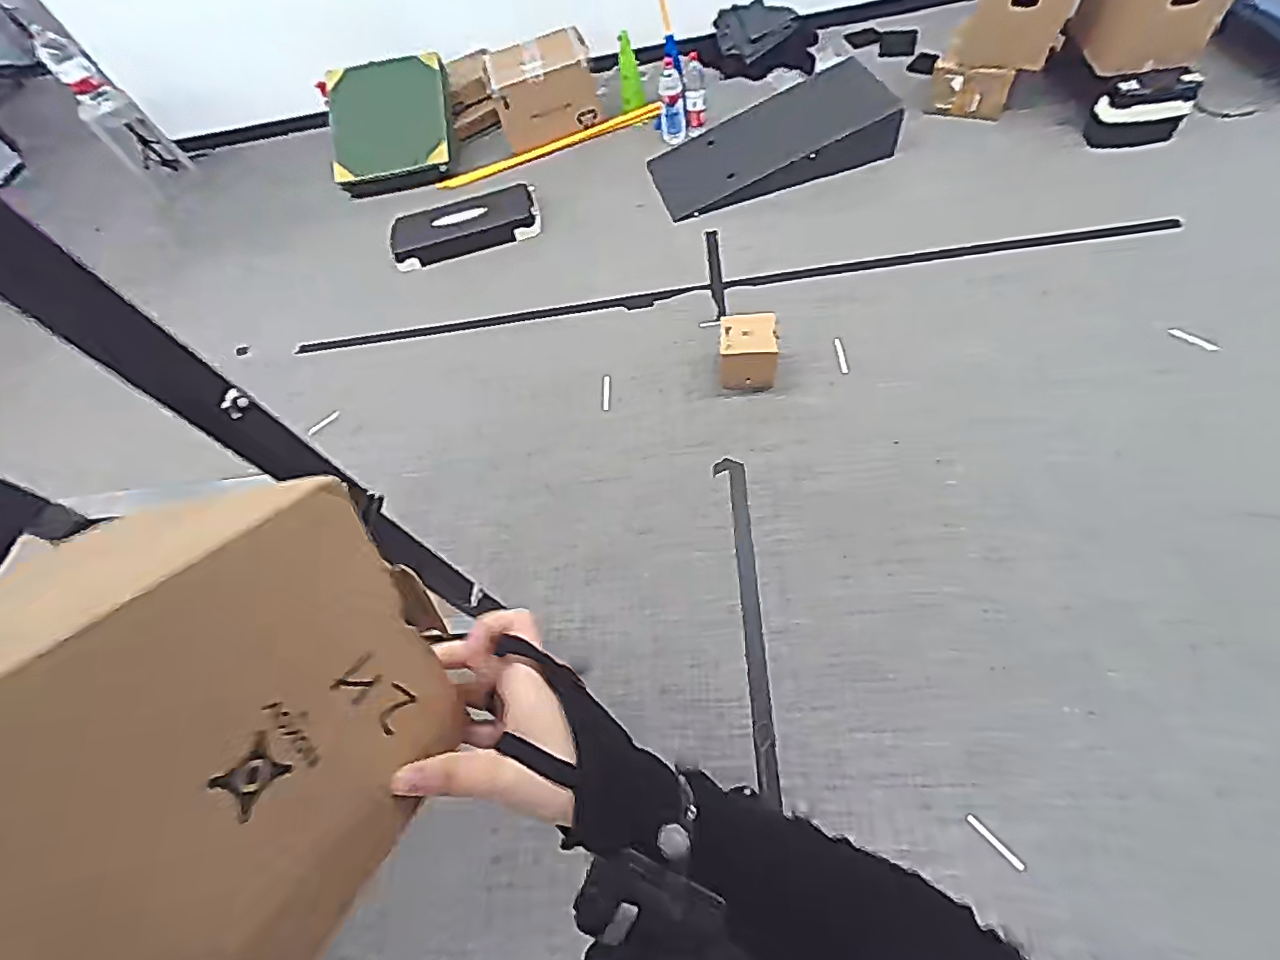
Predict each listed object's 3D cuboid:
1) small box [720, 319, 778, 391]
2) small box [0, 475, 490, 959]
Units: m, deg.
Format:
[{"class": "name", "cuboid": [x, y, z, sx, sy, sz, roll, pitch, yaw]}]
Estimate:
[{"class": "small box", "cuboid": [0.352, -0.403, 1.764, 0.179, 0.176, 0.168, 0, 60, 9]}, {"class": "small box", "cuboid": [-0.208, 0.115, 0.245, 0.176, 0.168, 0.179, -6, 24, 23]}]
